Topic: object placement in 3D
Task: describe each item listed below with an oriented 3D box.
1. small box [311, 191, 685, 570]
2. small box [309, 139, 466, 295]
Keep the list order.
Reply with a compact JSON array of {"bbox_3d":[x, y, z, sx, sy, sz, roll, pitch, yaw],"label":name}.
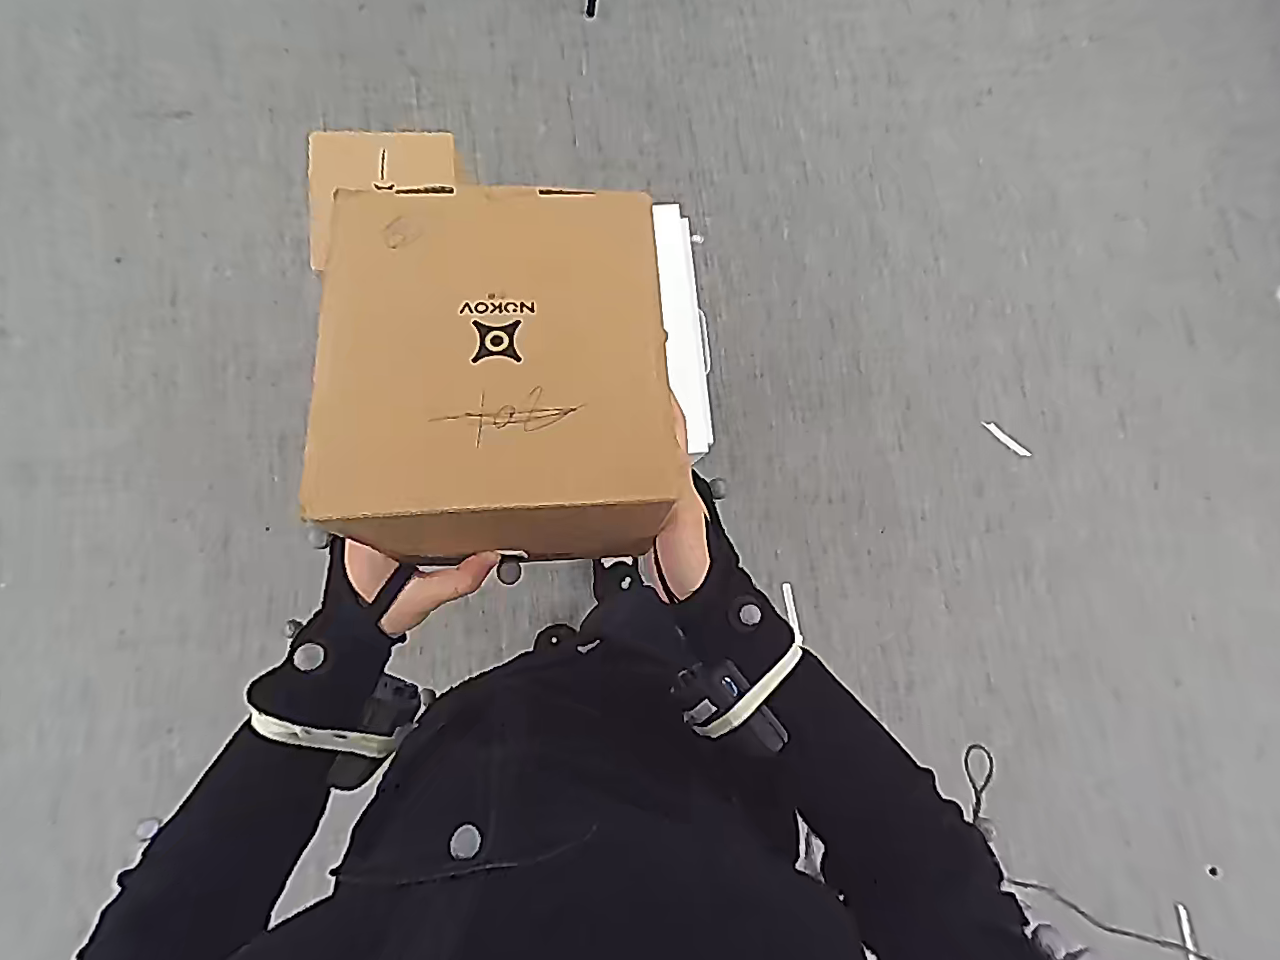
[{"bbox_3d":[-0.073,-0.046,0.339,0.168,0.176,0.179,-4,74,-6],"label":"small box"},{"bbox_3d":[-0.307,-0.308,0.709,0.168,0.176,0.179,-4,83,-7],"label":"small box"}]
